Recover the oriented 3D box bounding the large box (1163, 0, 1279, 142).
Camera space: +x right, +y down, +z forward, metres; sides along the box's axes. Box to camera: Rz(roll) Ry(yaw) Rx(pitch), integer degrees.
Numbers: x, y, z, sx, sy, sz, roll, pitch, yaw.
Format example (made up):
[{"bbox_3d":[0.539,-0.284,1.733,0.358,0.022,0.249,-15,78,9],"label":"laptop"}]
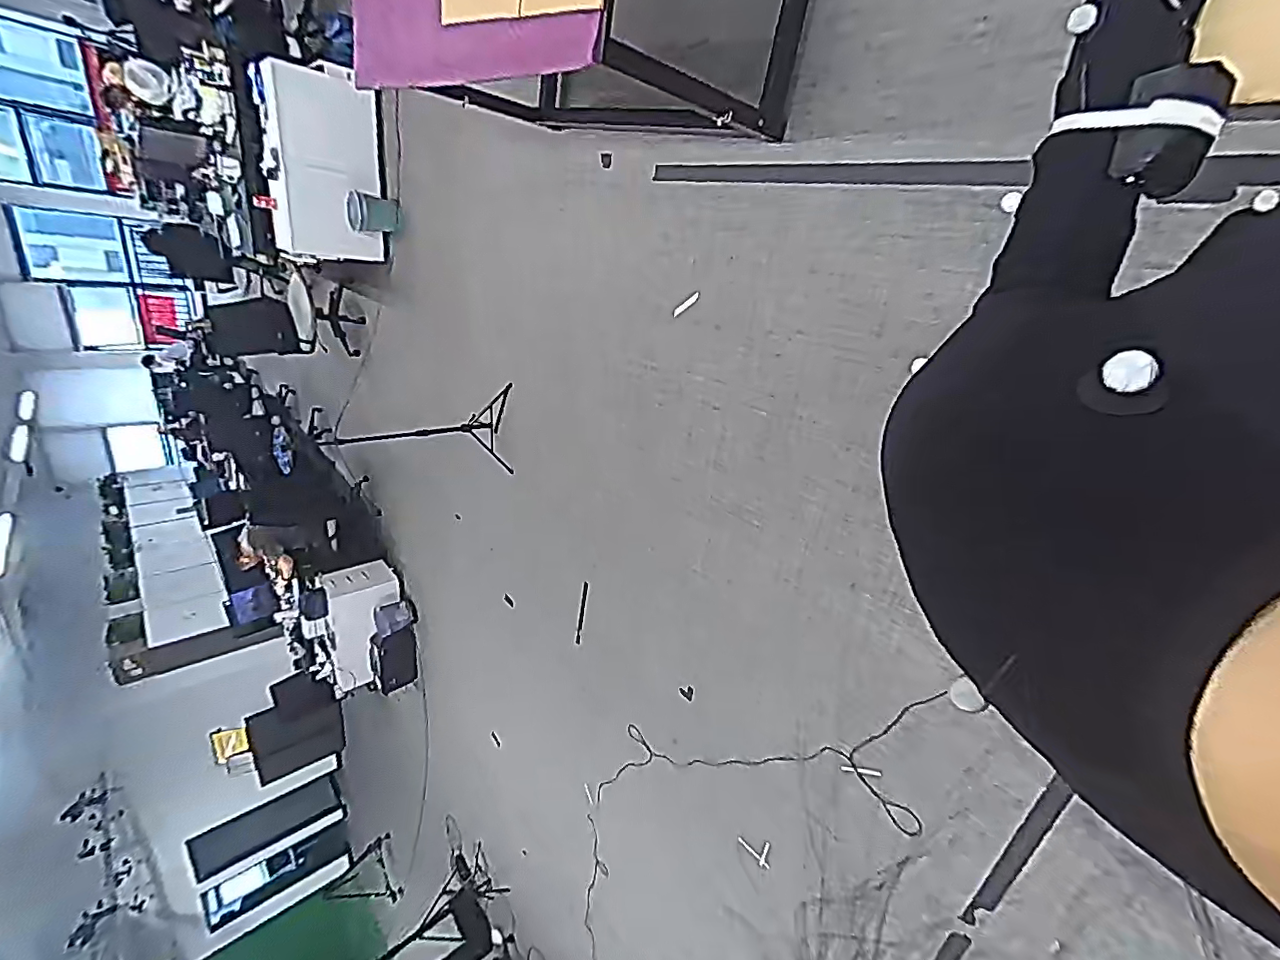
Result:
[{"bbox_3d":[0.606,-0.380,0.284,0.408,0.320,0.320,23,128,38],"label":"large box"}]
